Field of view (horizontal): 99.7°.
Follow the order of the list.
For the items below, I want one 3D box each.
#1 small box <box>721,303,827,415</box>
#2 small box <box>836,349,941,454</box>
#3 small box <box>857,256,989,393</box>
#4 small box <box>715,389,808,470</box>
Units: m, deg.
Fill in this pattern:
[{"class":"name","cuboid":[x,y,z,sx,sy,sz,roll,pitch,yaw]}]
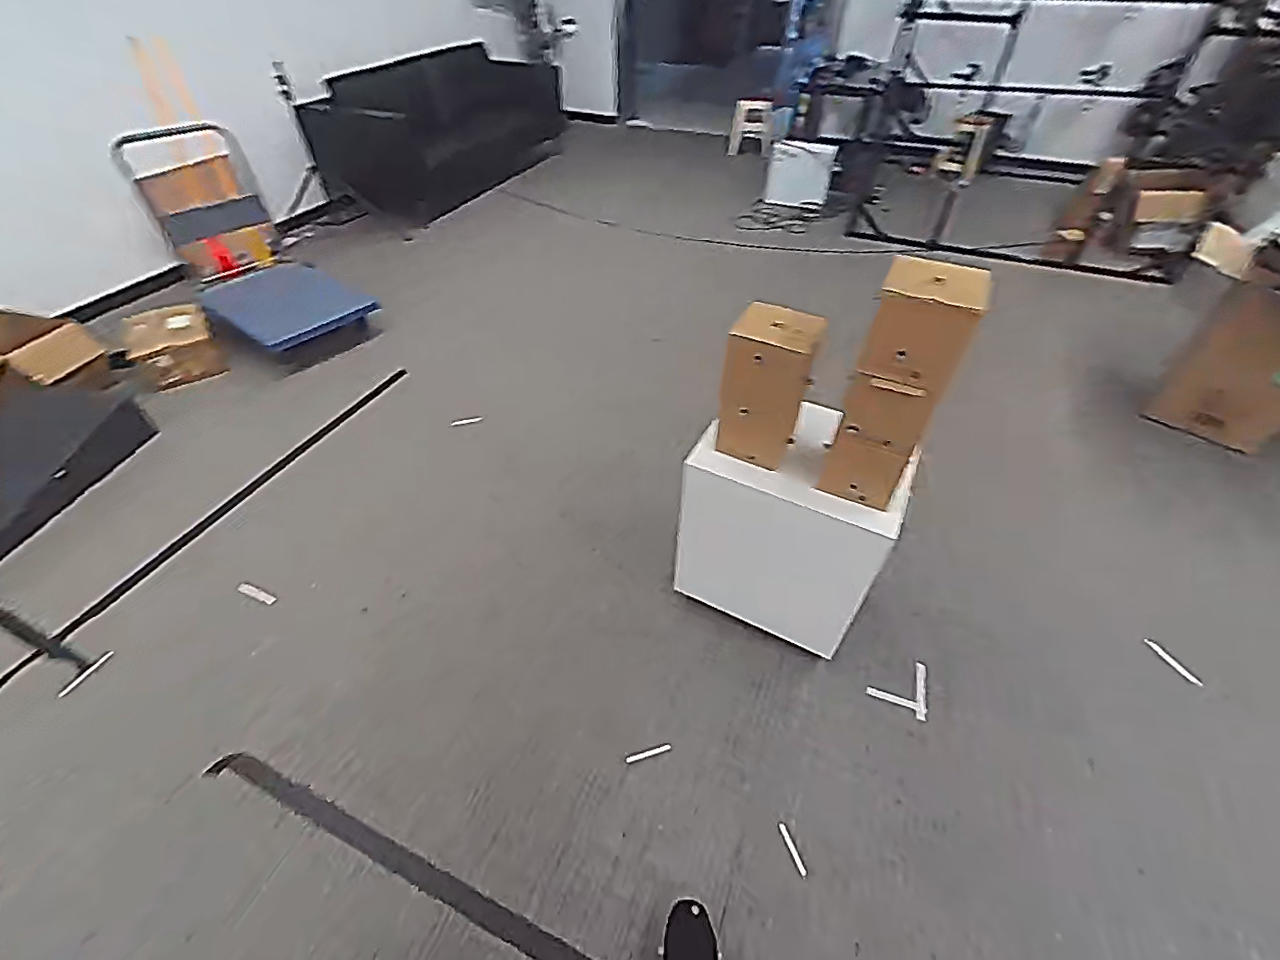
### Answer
[{"class":"small box","cuboid":[0.296,-0.272,1.221,0.179,0.176,0.168,22,49,19]},{"class":"small box","cuboid":[0.525,-0.181,1.135,0.168,0.176,0.179,20,47,19]},{"class":"small box","cuboid":[0.527,-0.294,1.019,0.168,0.176,0.179,20,49,18]},{"class":"small box","cuboid":[0.296,-0.157,1.340,0.168,0.176,0.179,22,48,20]}]
